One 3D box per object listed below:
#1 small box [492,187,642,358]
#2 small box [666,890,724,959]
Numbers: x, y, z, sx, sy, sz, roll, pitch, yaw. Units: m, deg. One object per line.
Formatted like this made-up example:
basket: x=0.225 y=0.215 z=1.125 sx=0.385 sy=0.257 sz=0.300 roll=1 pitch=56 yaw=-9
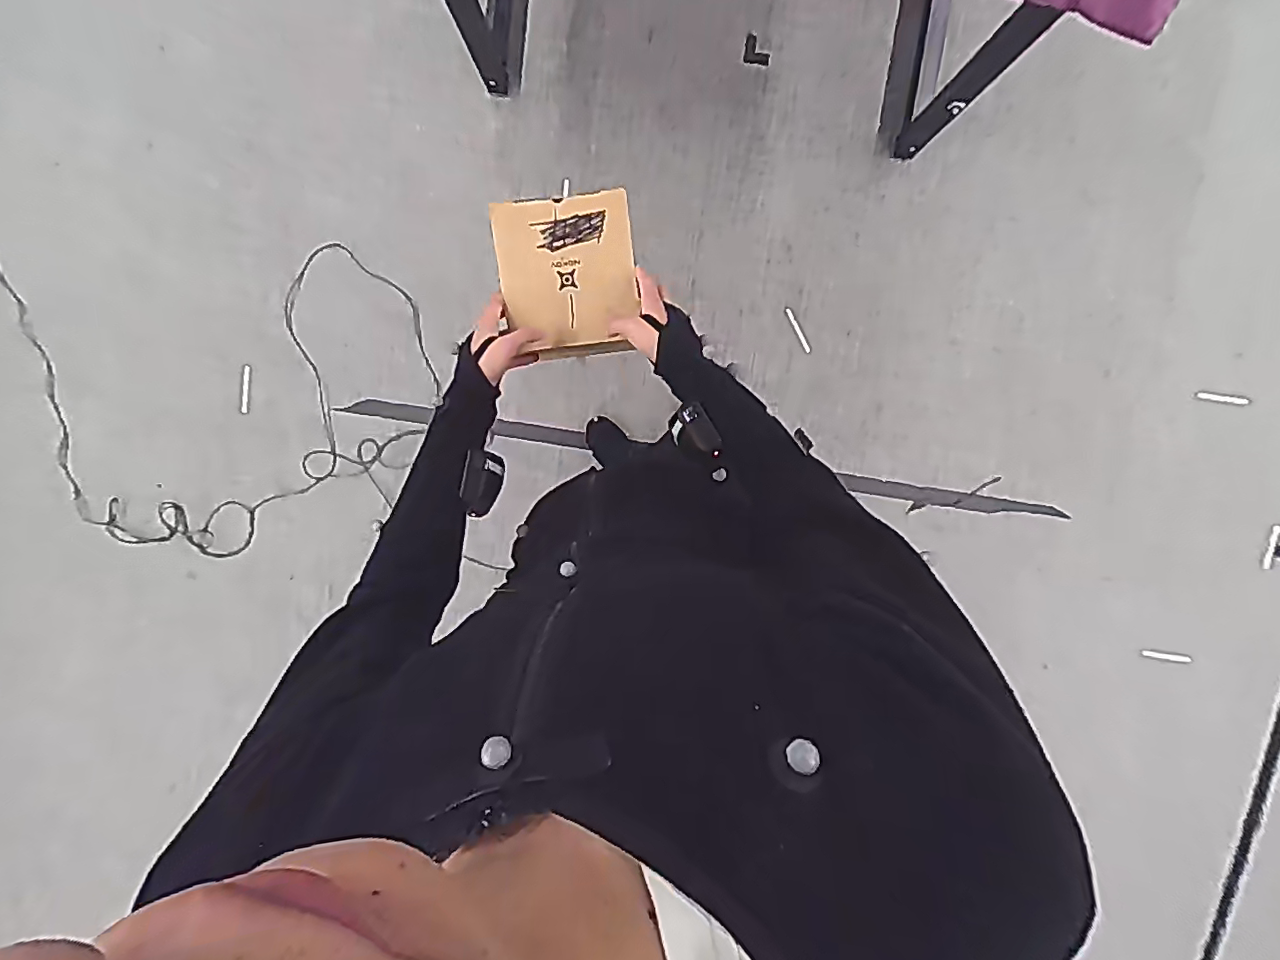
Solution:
small box: x=-0.090 y=-0.267 z=0.731 sx=0.168 sy=0.176 sz=0.179 roll=-7 pitch=99 yaw=0
small box: x=0.173 y=1.484 z=1.755 sx=0.168 sy=0.176 sz=0.179 roll=2 pitch=98 yaw=-1
